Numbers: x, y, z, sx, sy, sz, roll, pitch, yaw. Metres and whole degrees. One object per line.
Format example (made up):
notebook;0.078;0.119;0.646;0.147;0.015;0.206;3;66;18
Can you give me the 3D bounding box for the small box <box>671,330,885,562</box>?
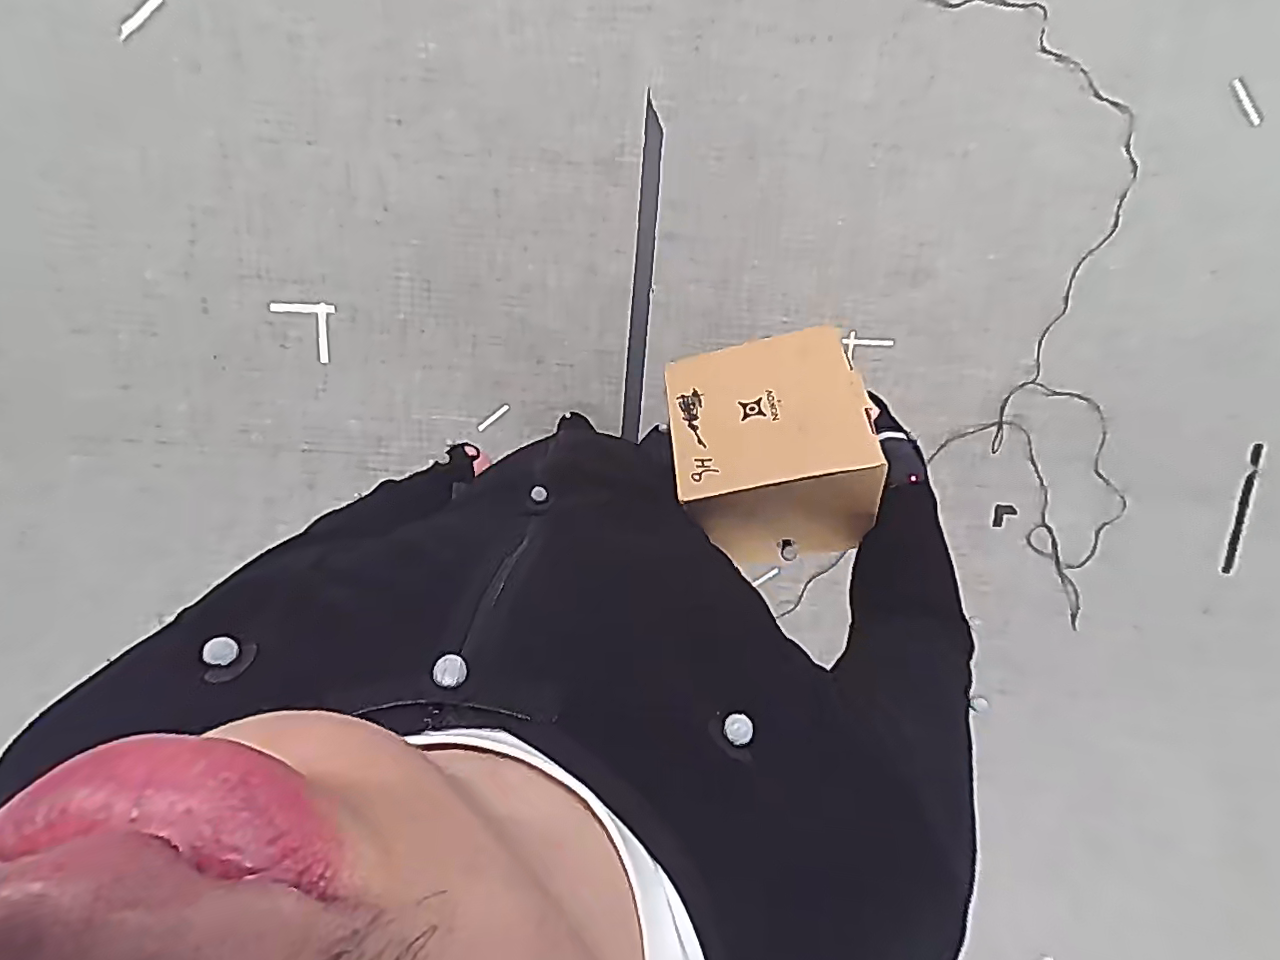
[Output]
small box;0.139;-0.026;0.578;0.179;0.176;0.168;-11;56;11
